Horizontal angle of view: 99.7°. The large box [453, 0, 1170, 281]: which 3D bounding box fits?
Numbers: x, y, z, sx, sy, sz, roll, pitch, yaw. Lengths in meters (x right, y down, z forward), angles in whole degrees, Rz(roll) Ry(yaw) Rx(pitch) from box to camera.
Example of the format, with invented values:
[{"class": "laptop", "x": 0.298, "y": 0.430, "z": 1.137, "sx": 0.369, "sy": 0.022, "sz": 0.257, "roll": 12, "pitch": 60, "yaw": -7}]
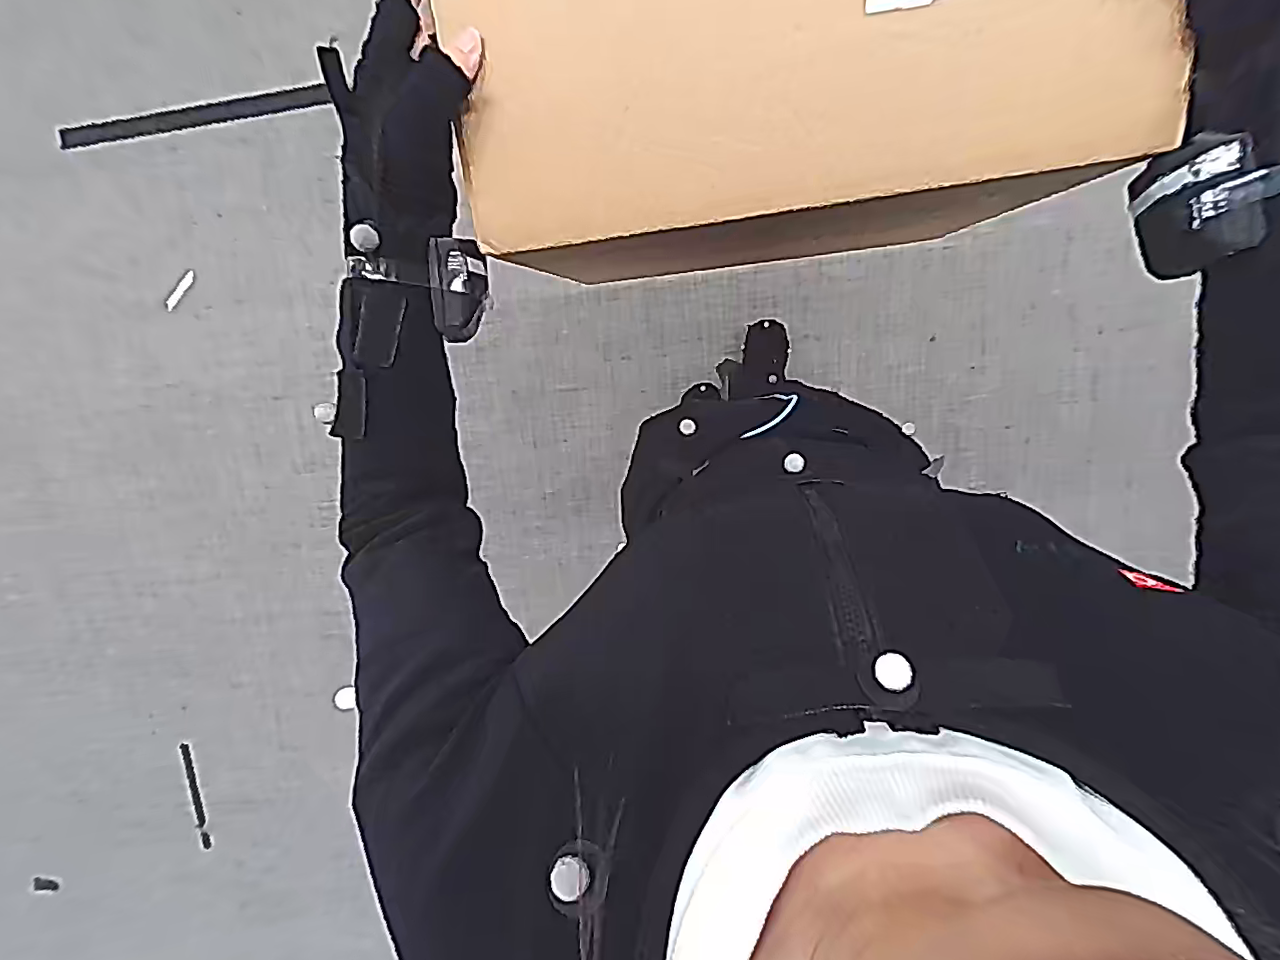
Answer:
[{"class": "large box", "x": 0.094, "y": -0.364, "z": 0.440, "sx": 0.408, "sy": 0.320, "sz": 0.320, "roll": -6, "pitch": 106, "yaw": 8}]
